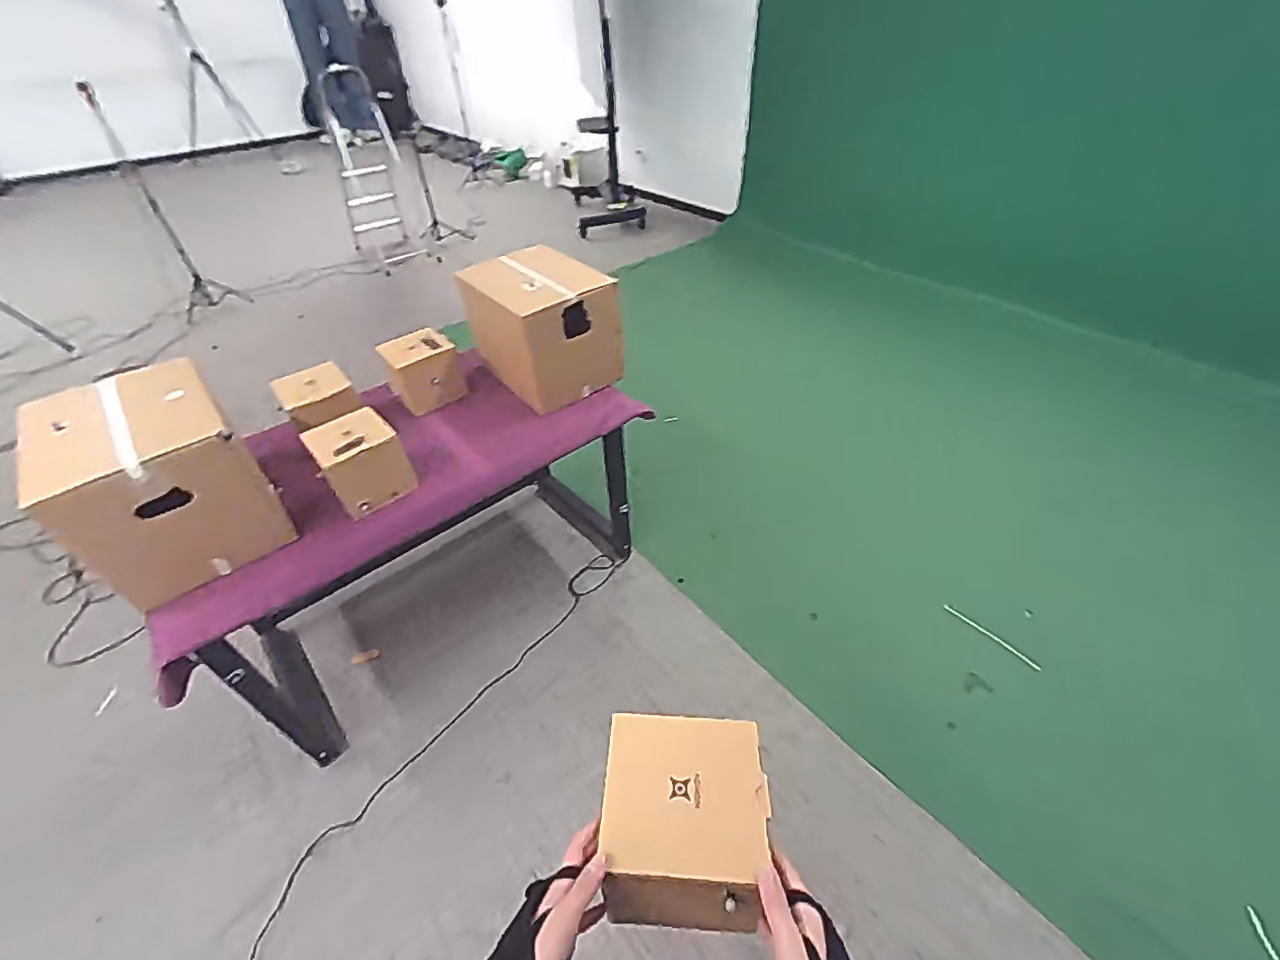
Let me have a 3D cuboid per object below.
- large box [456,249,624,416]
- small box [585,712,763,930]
[{"bbox_3d":[-0.292,-0.455,1.631,0.320,0.320,0.408,-31,50,-26],"label":"large box"},{"bbox_3d":[0.039,0.395,0.629,0.179,0.176,0.168,2,37,3],"label":"small box"}]
